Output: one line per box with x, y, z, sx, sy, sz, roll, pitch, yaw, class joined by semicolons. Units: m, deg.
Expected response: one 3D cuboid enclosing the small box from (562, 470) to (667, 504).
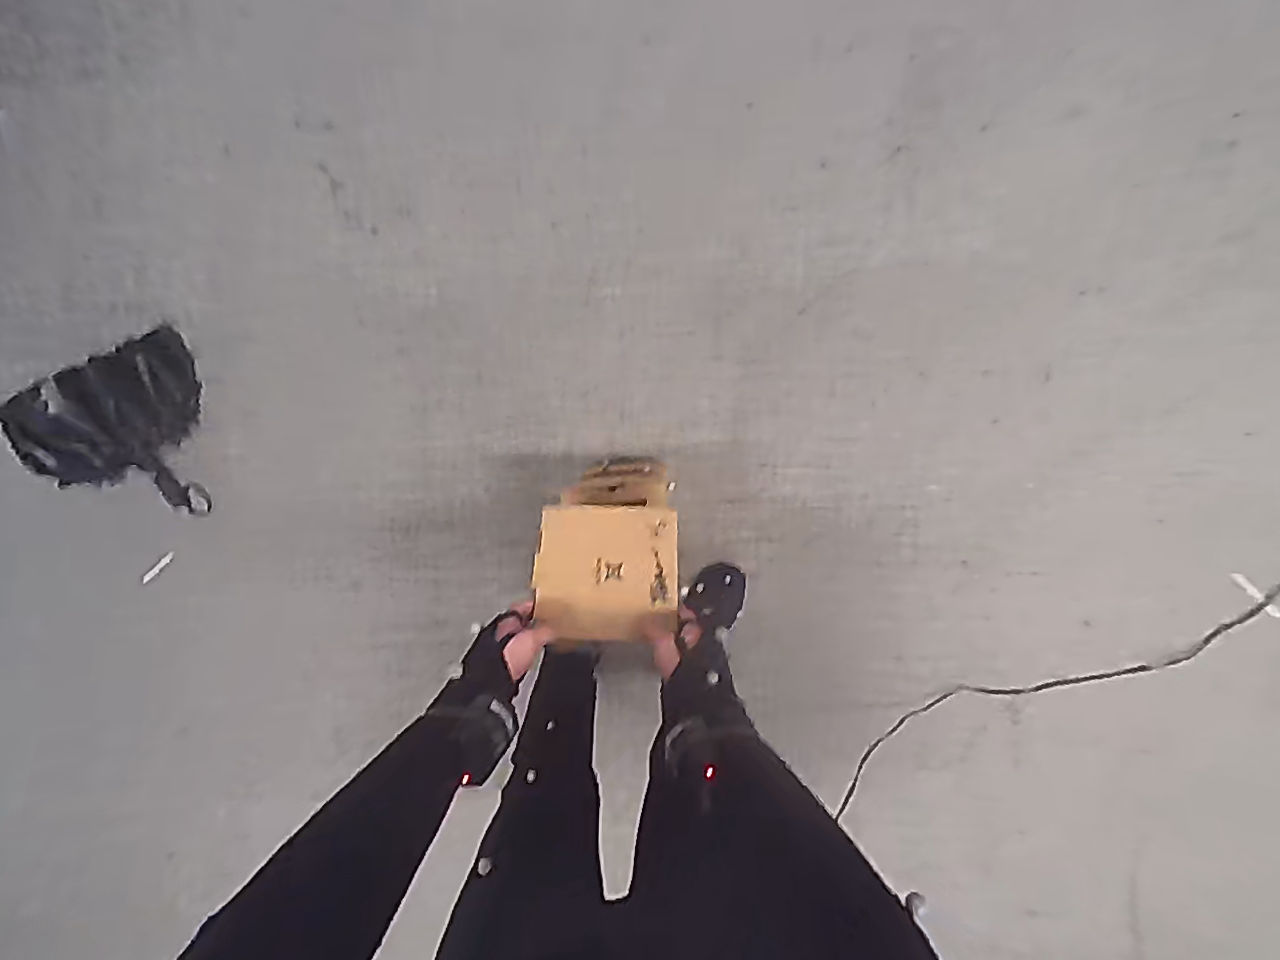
-0.035;0.077;0.947;0.168;0.176;0.179;-5;98;4;small box

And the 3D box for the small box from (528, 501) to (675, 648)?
-0.041;0.136;0.743;0.179;0.176;0.168;1;67;3;small box

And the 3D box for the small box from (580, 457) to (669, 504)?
-0.025;0.048;1.108;0.168;0.176;0.179;-4;99;4;small box
